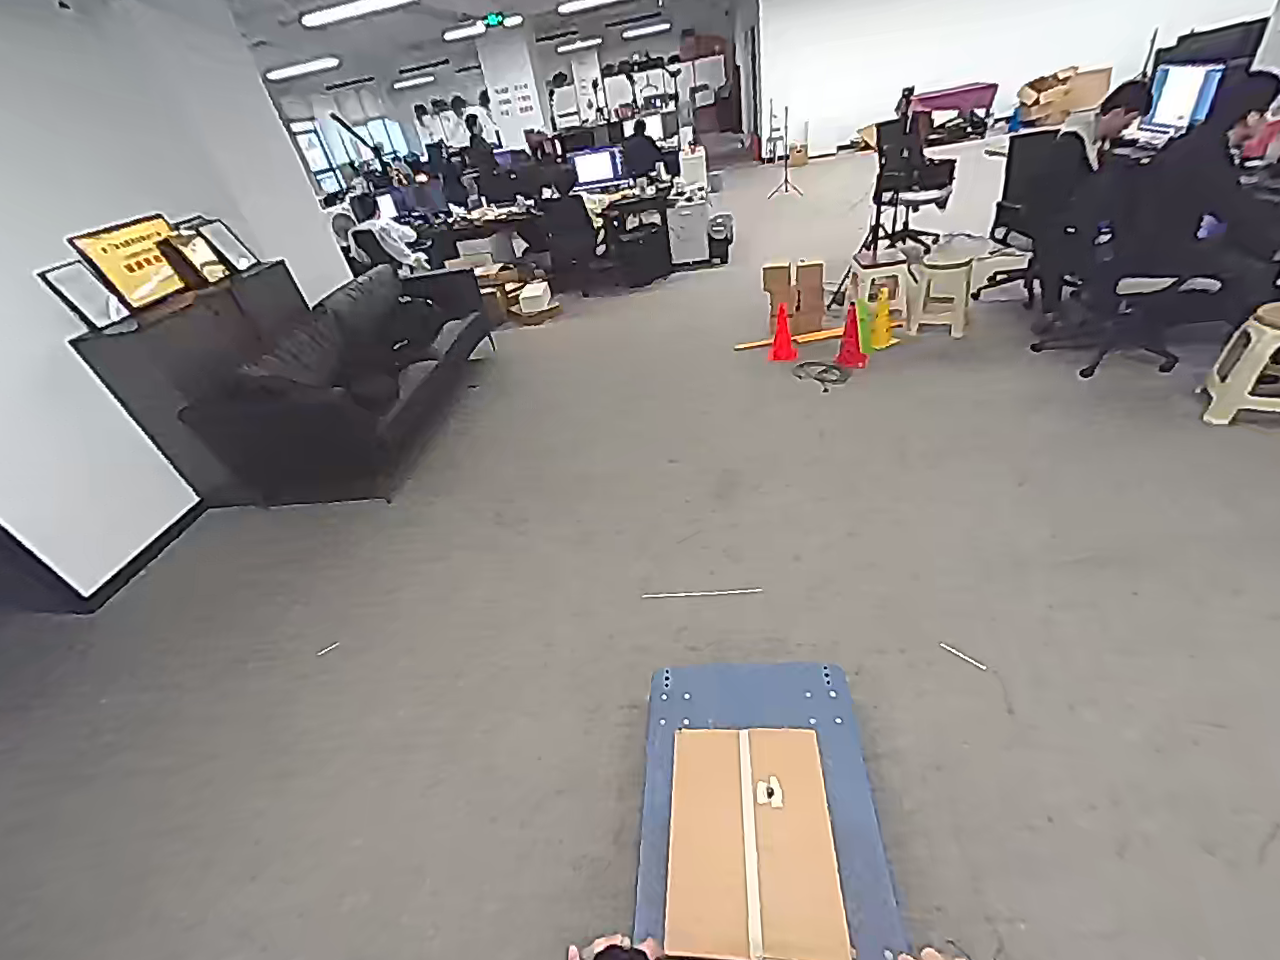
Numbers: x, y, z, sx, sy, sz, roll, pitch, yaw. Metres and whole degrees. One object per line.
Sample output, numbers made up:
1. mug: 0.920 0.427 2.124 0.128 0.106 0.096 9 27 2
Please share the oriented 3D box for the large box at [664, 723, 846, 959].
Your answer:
1. large box: 0.235 0.796 1.160 0.320 0.320 0.408 -4 35 10
